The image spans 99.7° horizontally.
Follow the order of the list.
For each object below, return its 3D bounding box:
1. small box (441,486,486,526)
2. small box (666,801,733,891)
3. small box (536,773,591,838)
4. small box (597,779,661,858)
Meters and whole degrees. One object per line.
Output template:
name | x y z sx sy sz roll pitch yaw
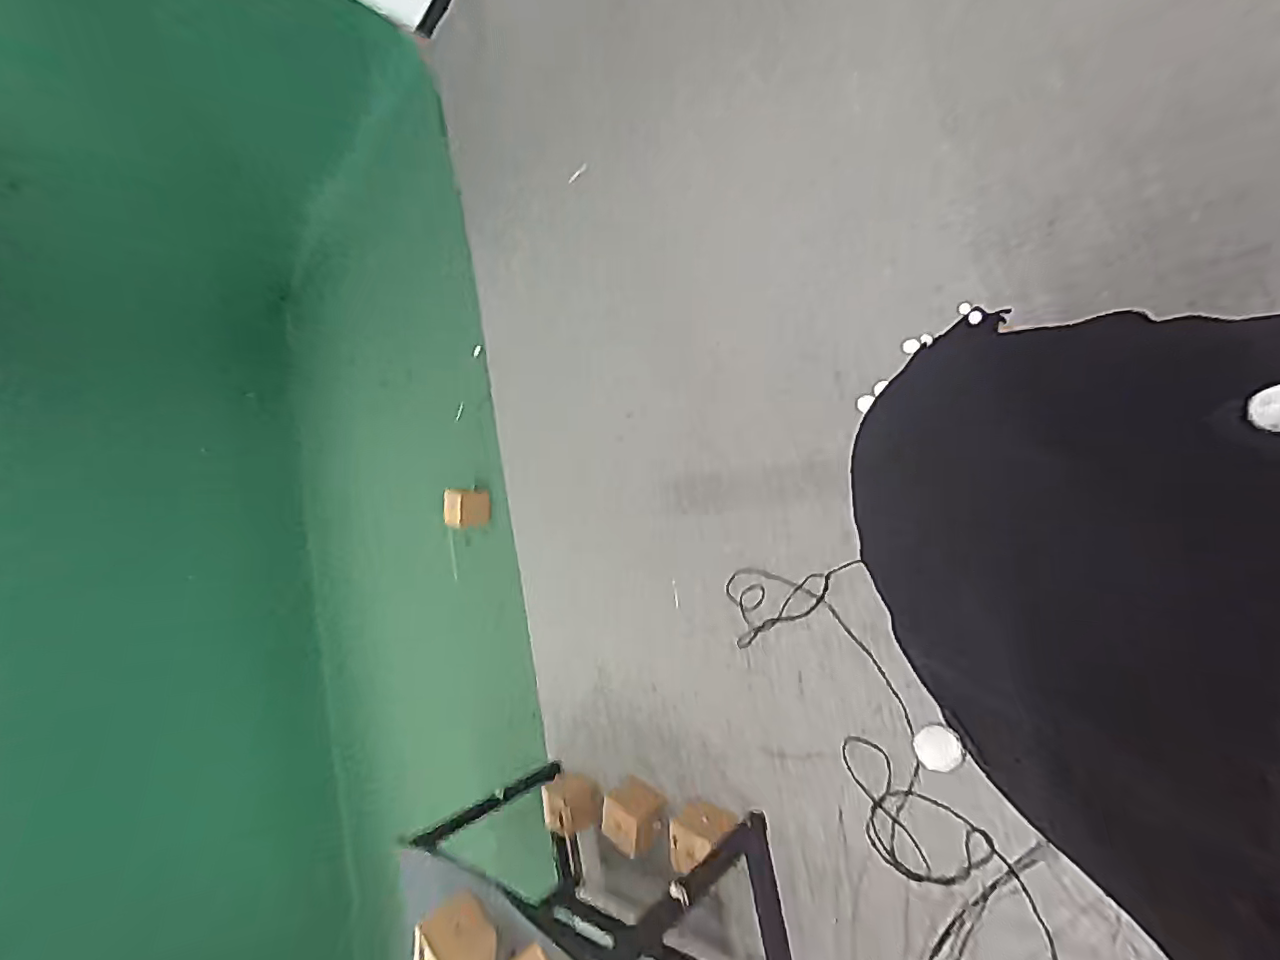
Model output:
small box | -0.923 0.134 2.823 0.168 0.176 0.179 11 99 41
small box | 0.208 1.242 1.853 0.179 0.176 0.168 1 93 42
small box | -0.327 1.408 2.354 0.179 0.176 0.168 -8 87 44
small box | -0.043 1.295 2.087 0.179 0.176 0.168 12 101 40
